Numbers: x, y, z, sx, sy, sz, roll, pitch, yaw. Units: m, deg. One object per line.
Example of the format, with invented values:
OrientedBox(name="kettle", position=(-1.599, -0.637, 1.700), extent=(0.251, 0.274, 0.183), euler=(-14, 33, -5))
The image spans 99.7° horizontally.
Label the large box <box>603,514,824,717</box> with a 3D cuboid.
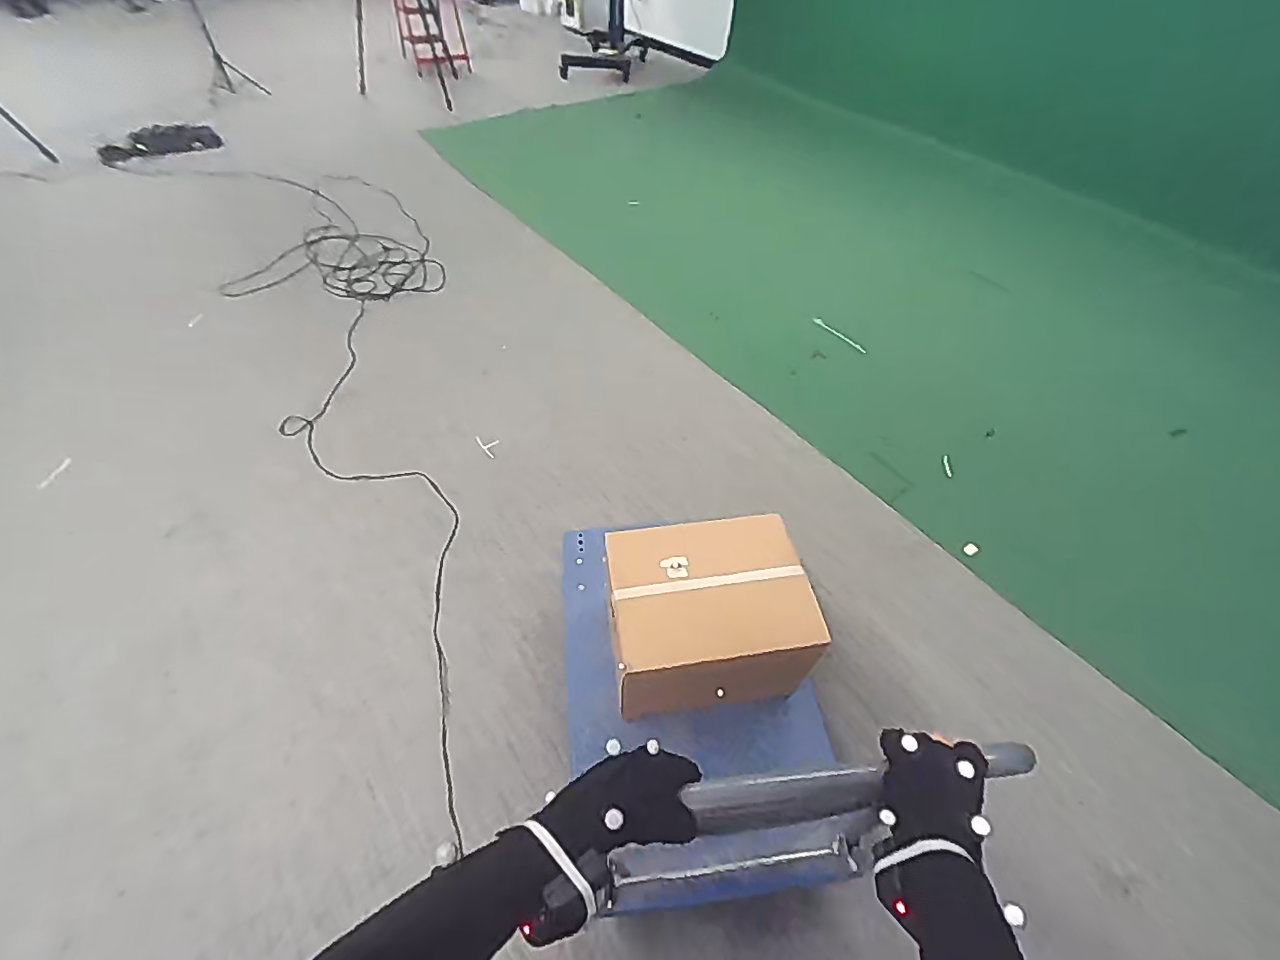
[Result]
OrientedBox(name="large box", position=(0.137, 0.311, 1.229), extent=(0.408, 0.320, 0.320), euler=(-7, 51, -8))
